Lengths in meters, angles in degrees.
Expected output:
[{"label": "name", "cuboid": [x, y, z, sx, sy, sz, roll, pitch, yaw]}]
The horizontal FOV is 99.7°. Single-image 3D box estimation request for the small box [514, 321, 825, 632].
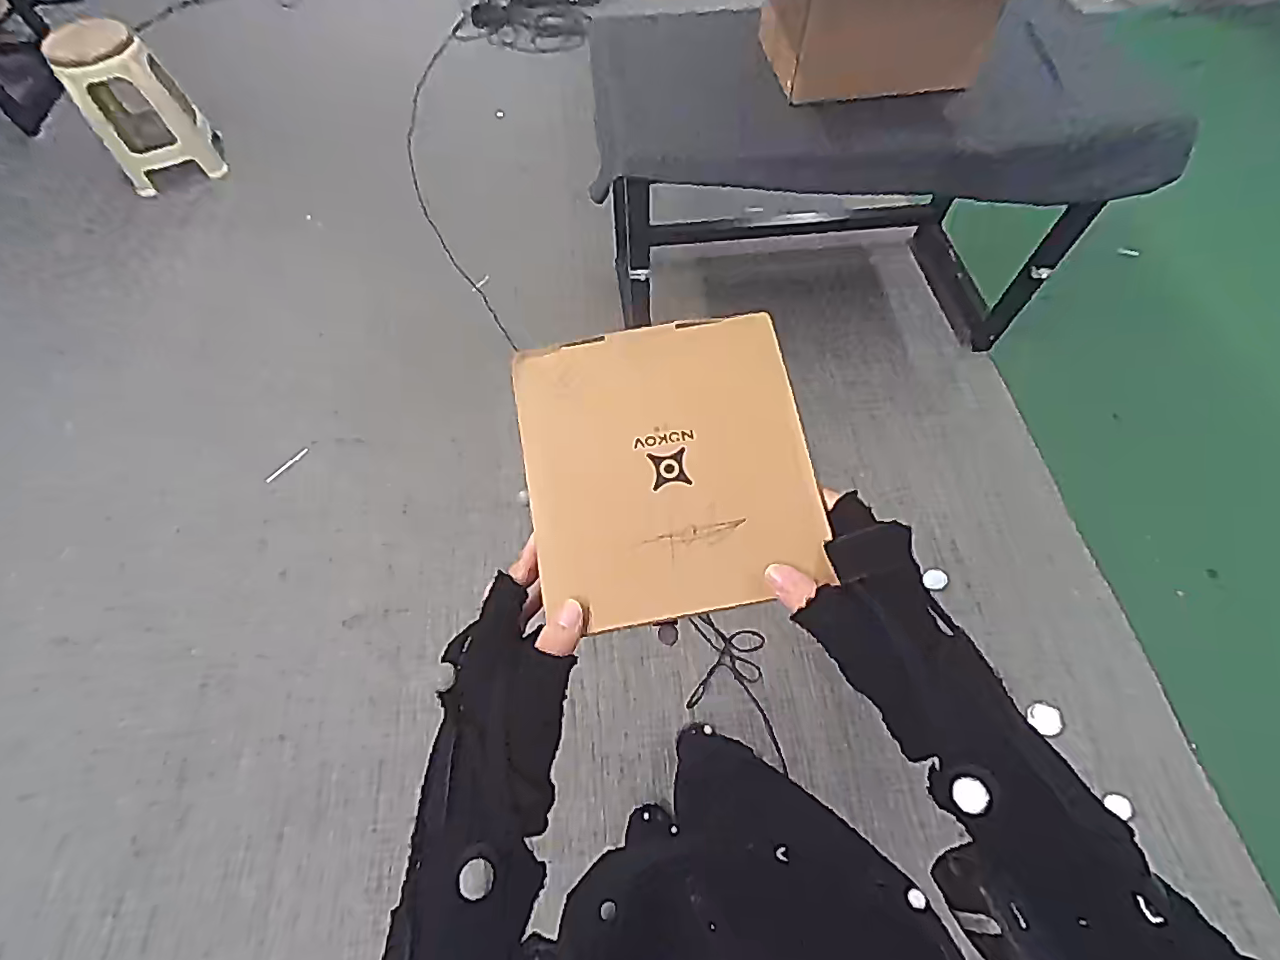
[{"label": "small box", "cuboid": [0.012, 0.012, 0.401, 0.168, 0.176, 0.179, -10, 75, -2]}]
